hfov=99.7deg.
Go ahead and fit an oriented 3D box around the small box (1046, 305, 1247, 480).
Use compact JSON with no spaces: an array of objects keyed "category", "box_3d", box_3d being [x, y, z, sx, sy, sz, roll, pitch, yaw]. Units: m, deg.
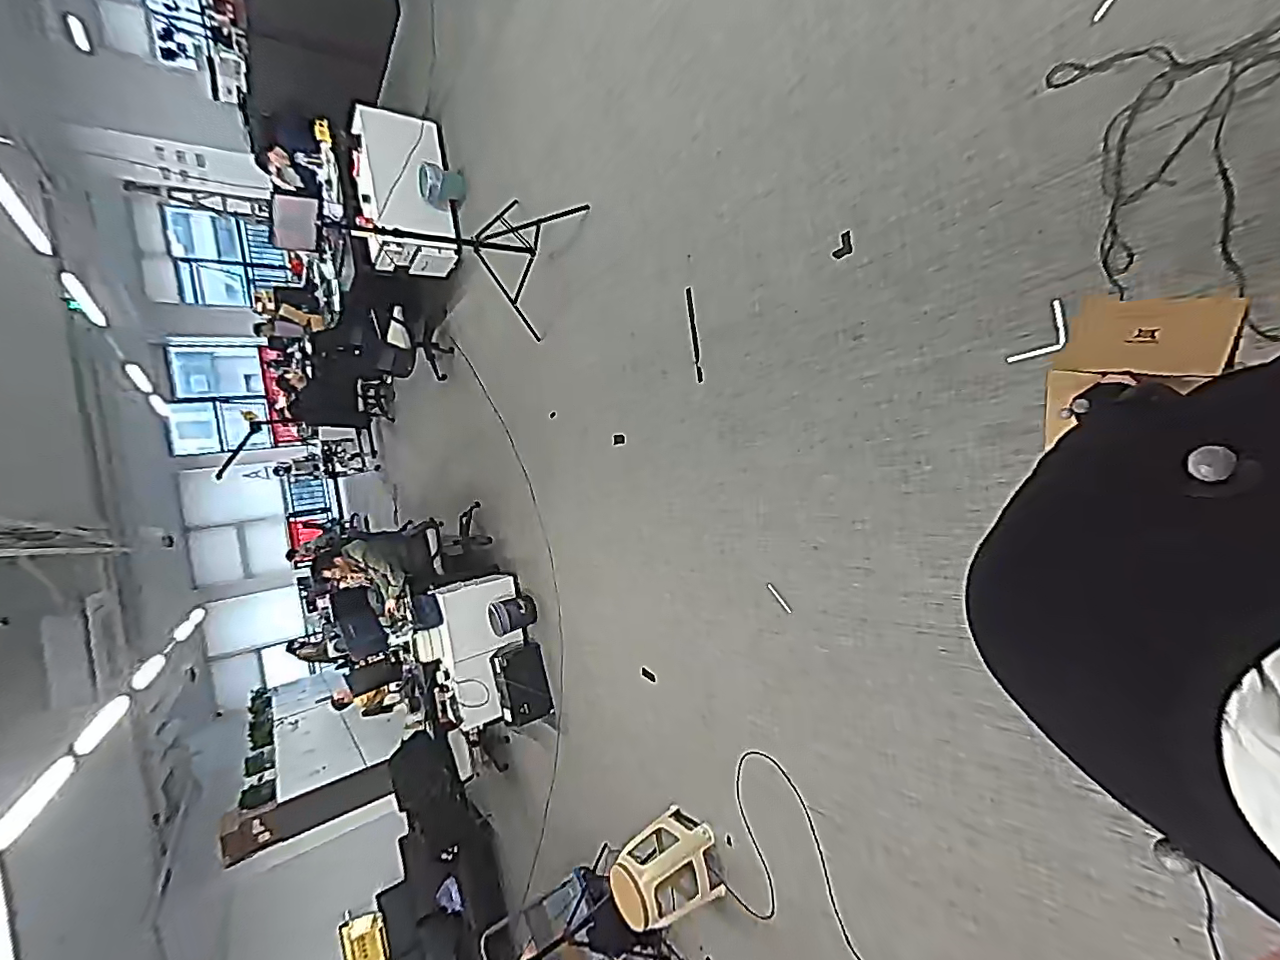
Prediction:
[{"category":"small box","box_3d":[0.696,-0.124,0.757,0.168,0.179,0.176,18,145,46]}]
